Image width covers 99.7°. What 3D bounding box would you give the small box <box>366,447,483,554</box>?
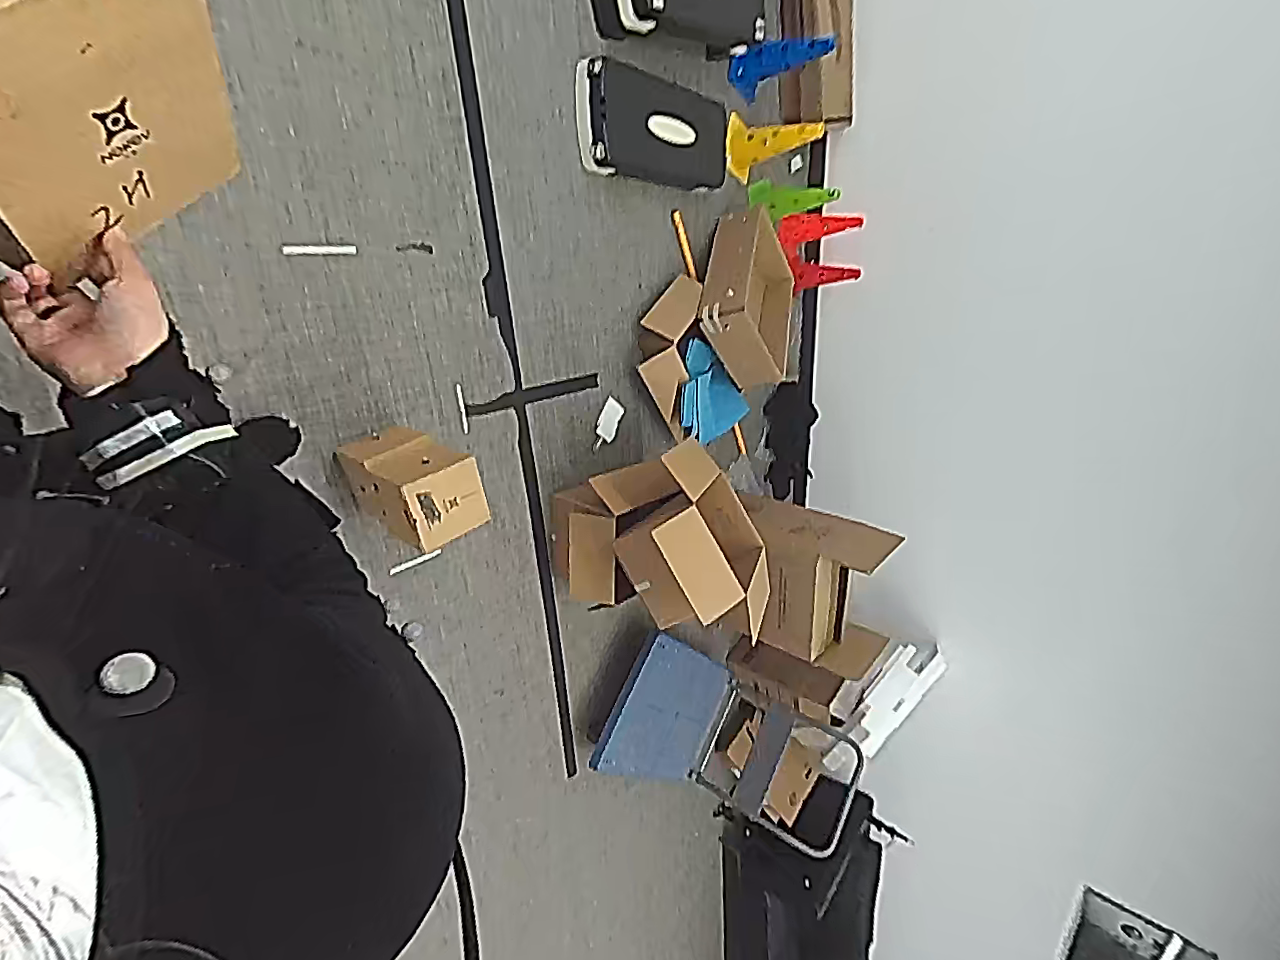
[{"bbox_3d":[-0.490,0.038,1.220,0.179,0.176,0.168,-32,125,-42],"label":"small box"}]

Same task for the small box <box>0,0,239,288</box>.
[{"bbox_3d":[-0.382,-0.258,0.306,0.176,0.179,0.168,36,60,-14],"label":"small box"}]
